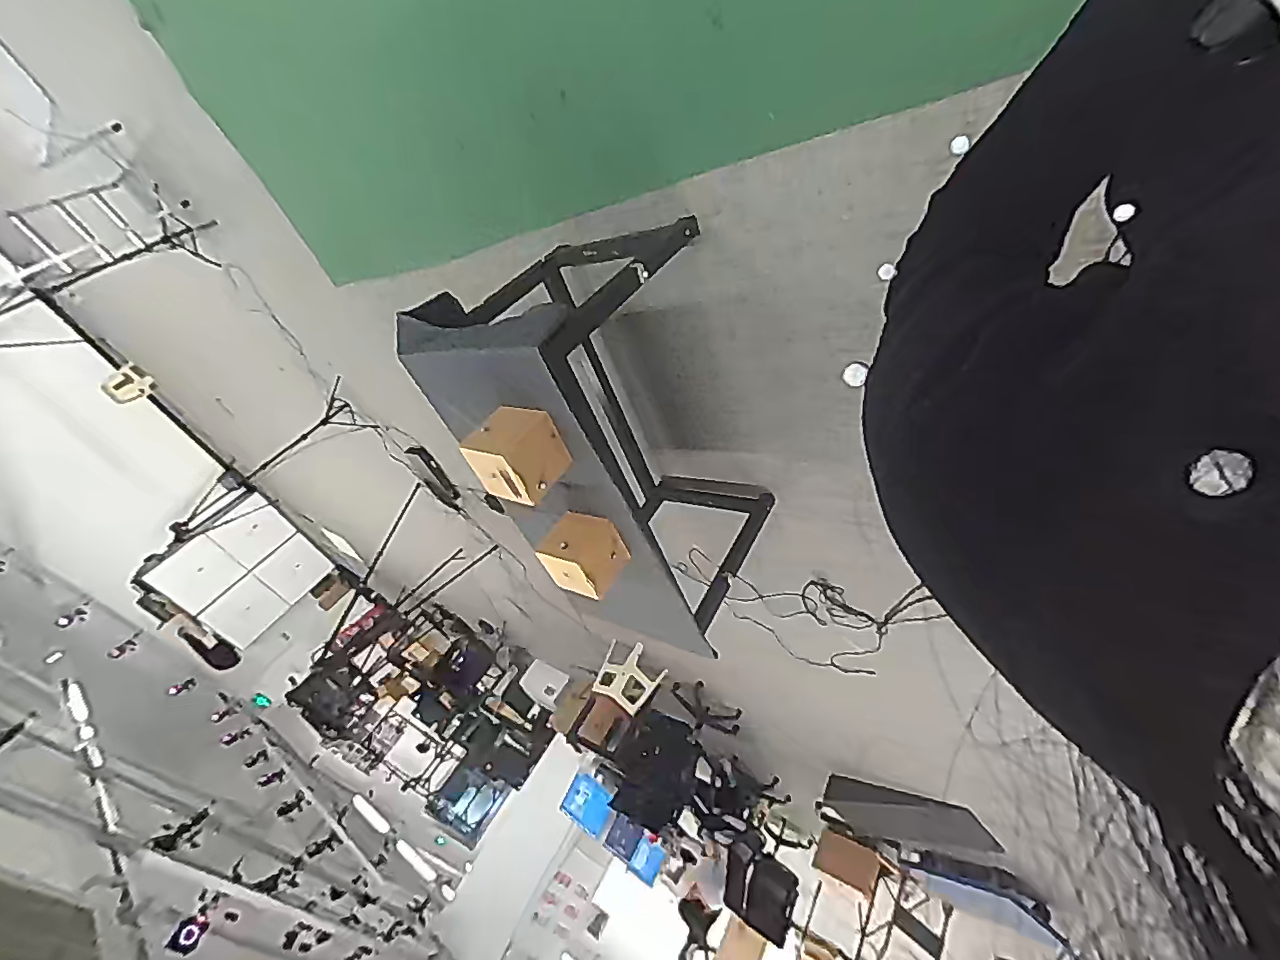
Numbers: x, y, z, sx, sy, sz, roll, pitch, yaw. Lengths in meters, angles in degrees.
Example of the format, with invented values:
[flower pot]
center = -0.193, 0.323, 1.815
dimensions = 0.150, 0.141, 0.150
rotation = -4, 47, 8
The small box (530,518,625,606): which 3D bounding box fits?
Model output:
[small box]
center = -0.173, 0.228, 1.545
dimensions = 0.179, 0.176, 0.168
rotation = 7, 136, 36
